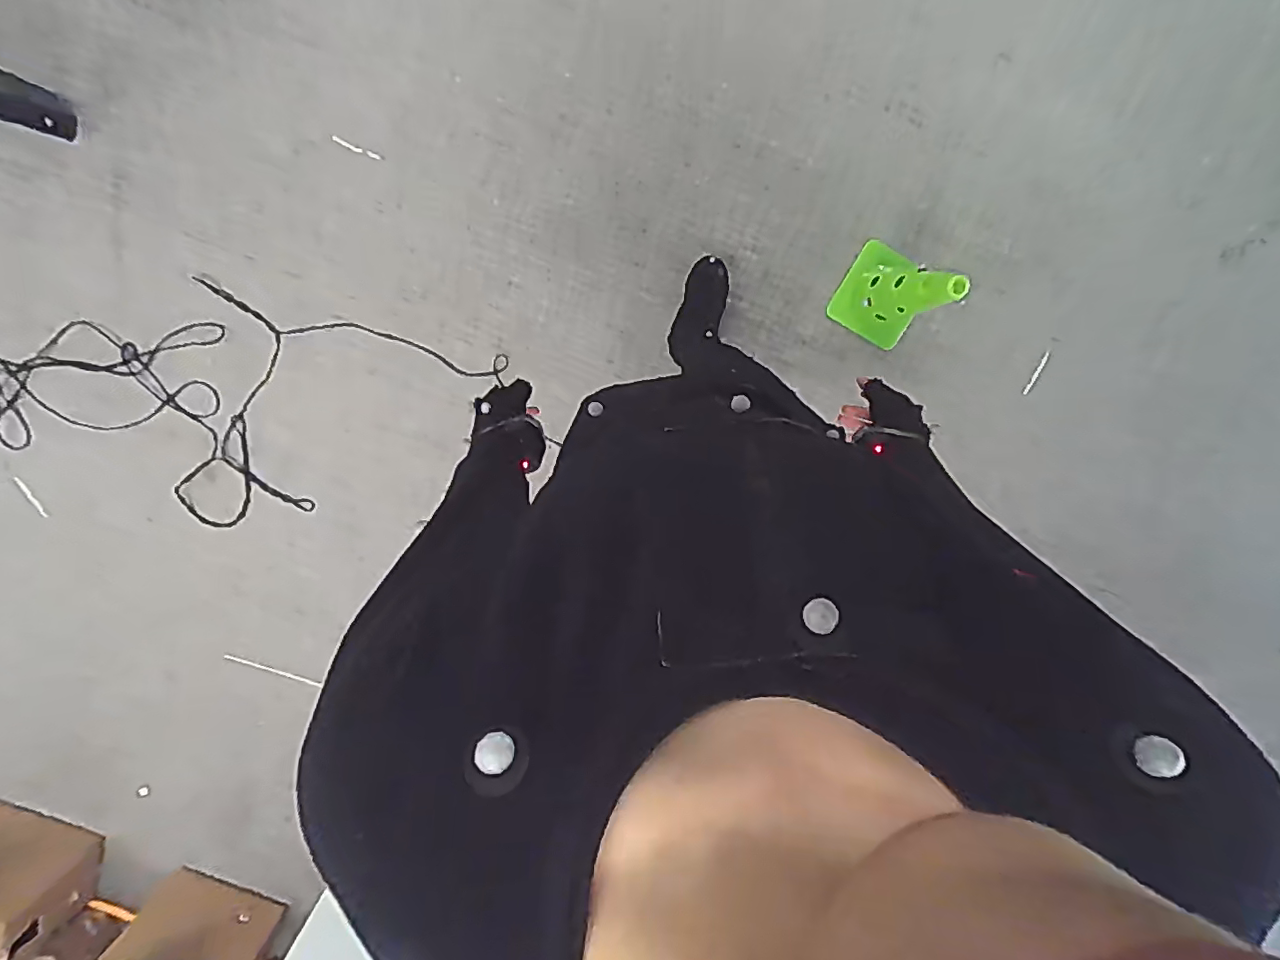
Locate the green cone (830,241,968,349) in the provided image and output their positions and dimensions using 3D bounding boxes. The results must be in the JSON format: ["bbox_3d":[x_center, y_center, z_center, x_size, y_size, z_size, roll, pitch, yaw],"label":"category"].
[{"bbox_3d":[0.585,-0.403,1.154,0.200,0.368,0.202,27,105,-5],"label":"green cone"}]
